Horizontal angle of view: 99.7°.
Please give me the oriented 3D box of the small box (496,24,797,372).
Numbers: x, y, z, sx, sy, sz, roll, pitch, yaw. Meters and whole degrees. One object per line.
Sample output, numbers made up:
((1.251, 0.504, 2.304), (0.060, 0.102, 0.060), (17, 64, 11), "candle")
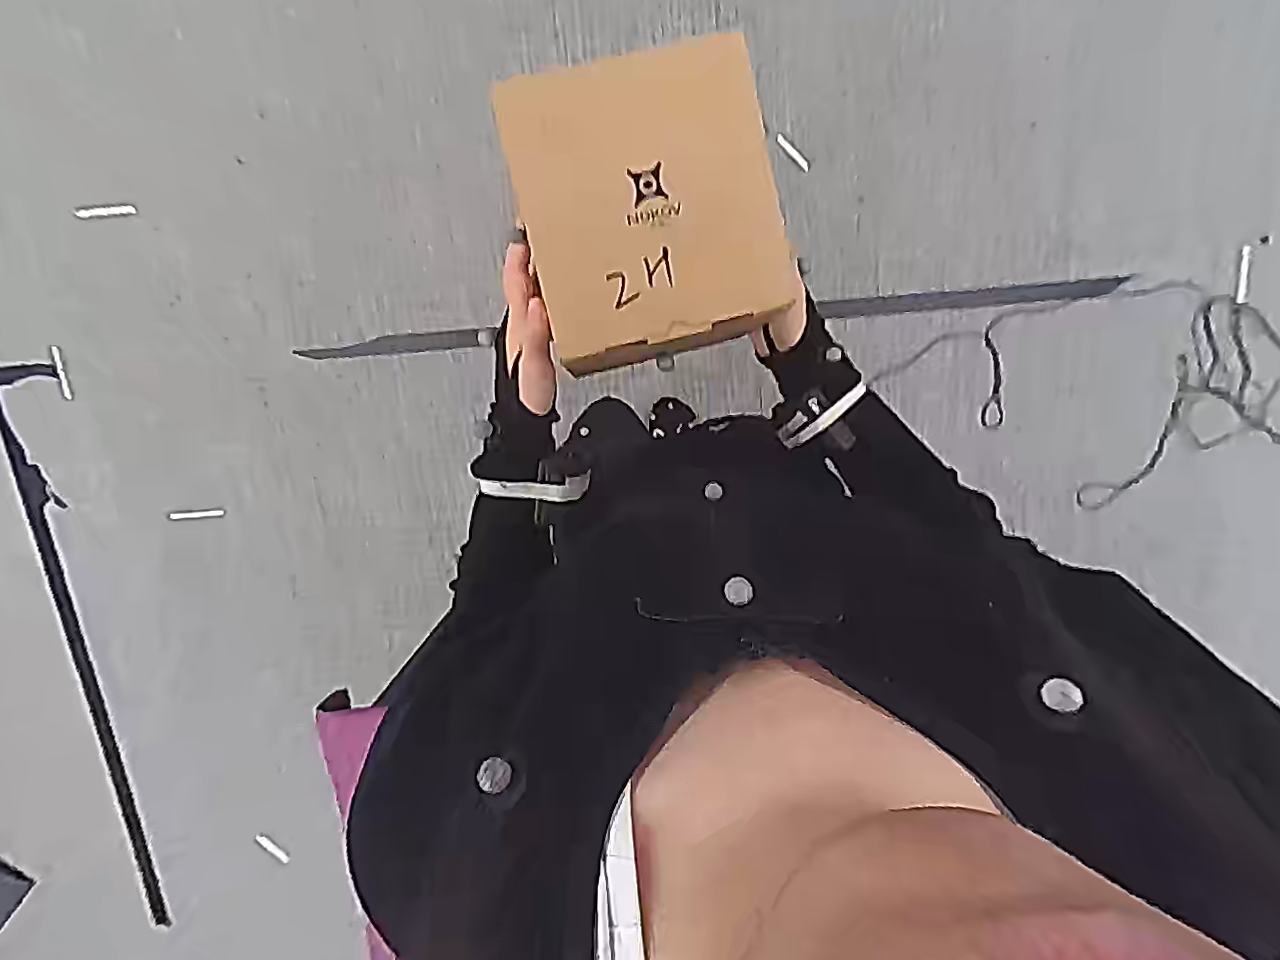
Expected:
((0.002, -0.194, 0.426), (0.168, 0.176, 0.179), (-14, 98, -1), "small box")
